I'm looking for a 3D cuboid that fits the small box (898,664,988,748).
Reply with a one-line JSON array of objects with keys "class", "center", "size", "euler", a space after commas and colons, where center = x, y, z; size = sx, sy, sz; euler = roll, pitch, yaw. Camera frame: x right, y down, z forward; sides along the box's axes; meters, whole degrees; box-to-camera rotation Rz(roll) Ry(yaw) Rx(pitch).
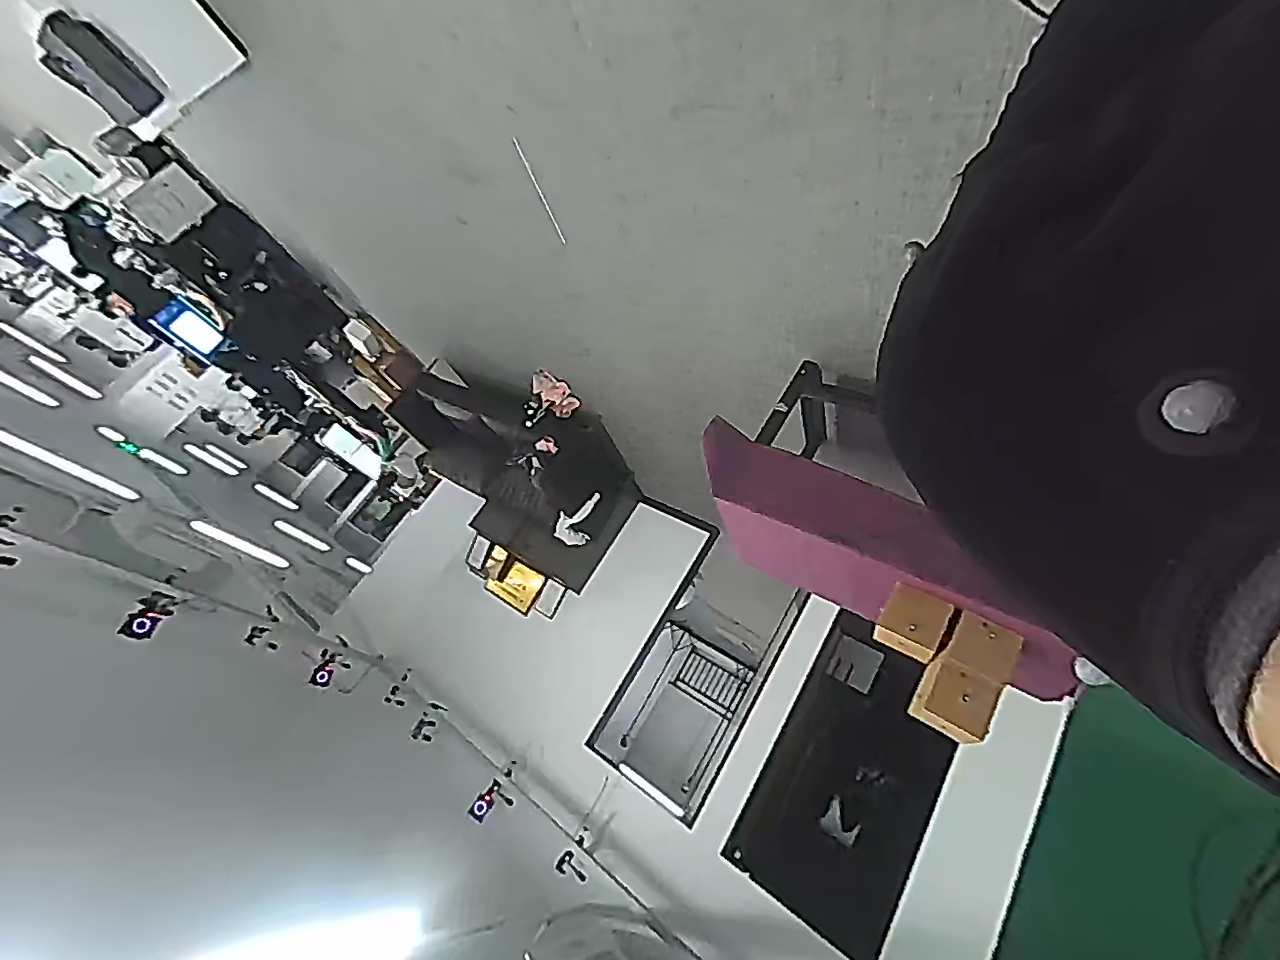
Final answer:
[{"class": "small box", "center": [0.901, 0.670, 1.608], "size": [0.168, 0.176, 0.179], "euler": [27, 160, 22]}]
